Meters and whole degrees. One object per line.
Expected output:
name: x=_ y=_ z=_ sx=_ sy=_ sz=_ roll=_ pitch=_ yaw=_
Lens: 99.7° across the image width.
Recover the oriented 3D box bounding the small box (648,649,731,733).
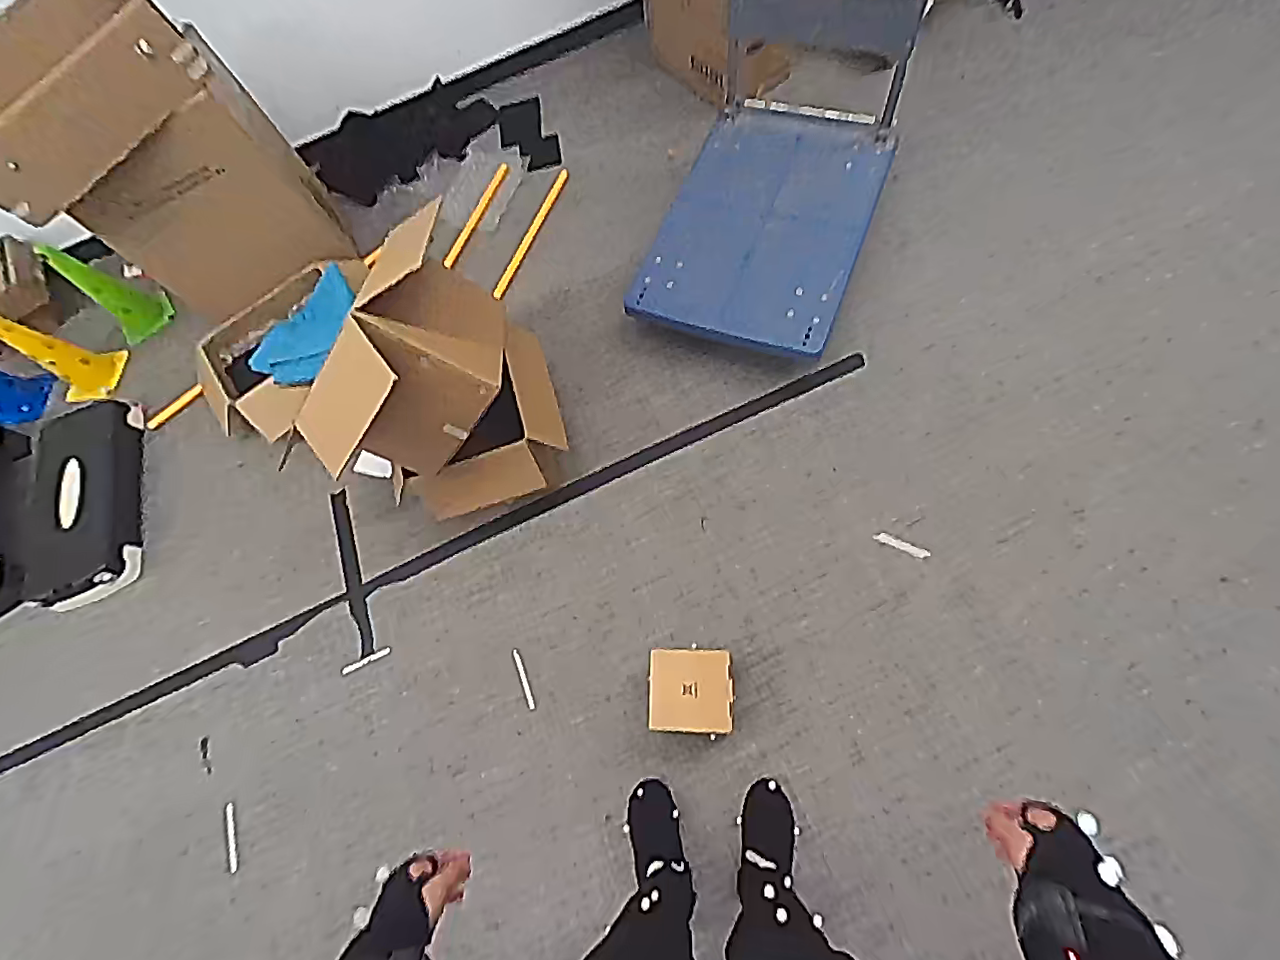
small box: x=0.117 y=0.482 z=1.230 sx=0.179 sy=0.176 sz=0.168 roll=-1 pitch=67 yaw=8
